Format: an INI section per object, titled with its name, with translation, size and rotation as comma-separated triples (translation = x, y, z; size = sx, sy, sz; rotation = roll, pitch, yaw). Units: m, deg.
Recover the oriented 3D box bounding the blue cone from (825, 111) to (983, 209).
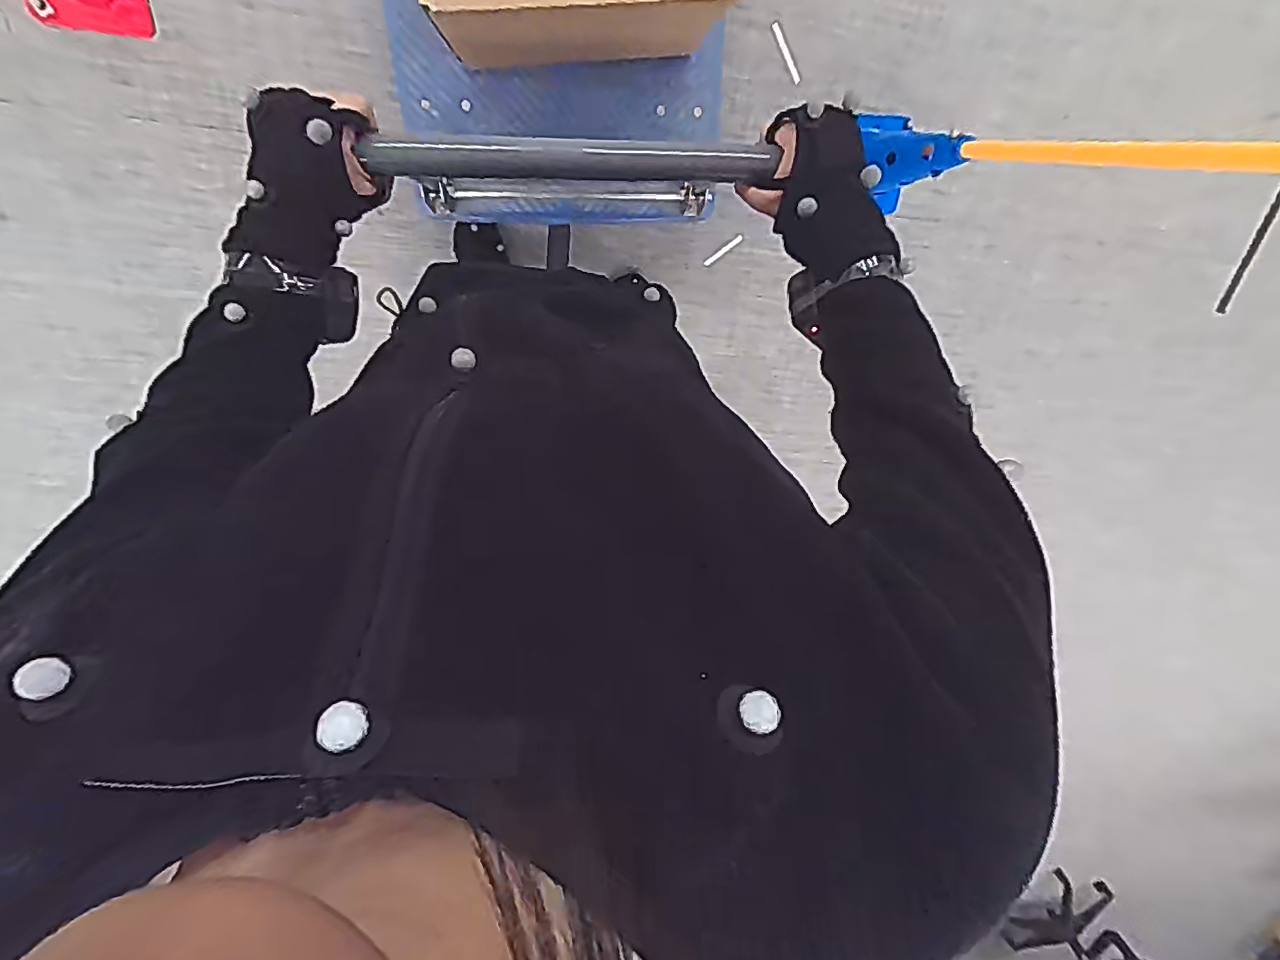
[blue cone]
translation = 0.543, -0.660, 1.090
size = 0.193, 0.380, 0.192
rotation = -1, 115, -8
